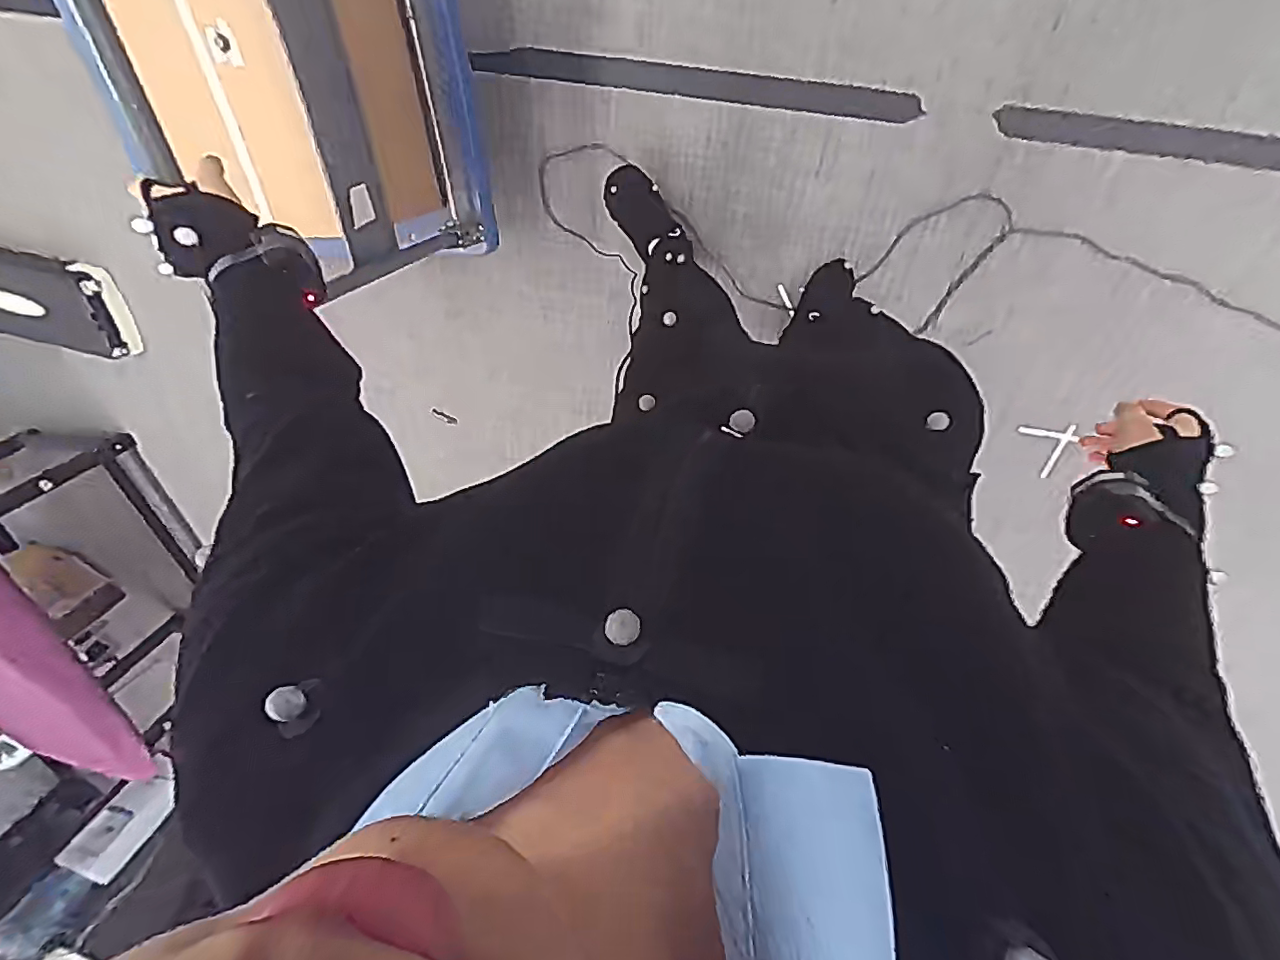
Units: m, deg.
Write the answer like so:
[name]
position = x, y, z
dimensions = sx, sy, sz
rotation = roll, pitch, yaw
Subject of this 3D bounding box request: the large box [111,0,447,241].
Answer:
[large box]
position = -0.606, -0.676, 0.977
dimensions = 0.320, 0.320, 0.408
rotation = 4, 124, 12
